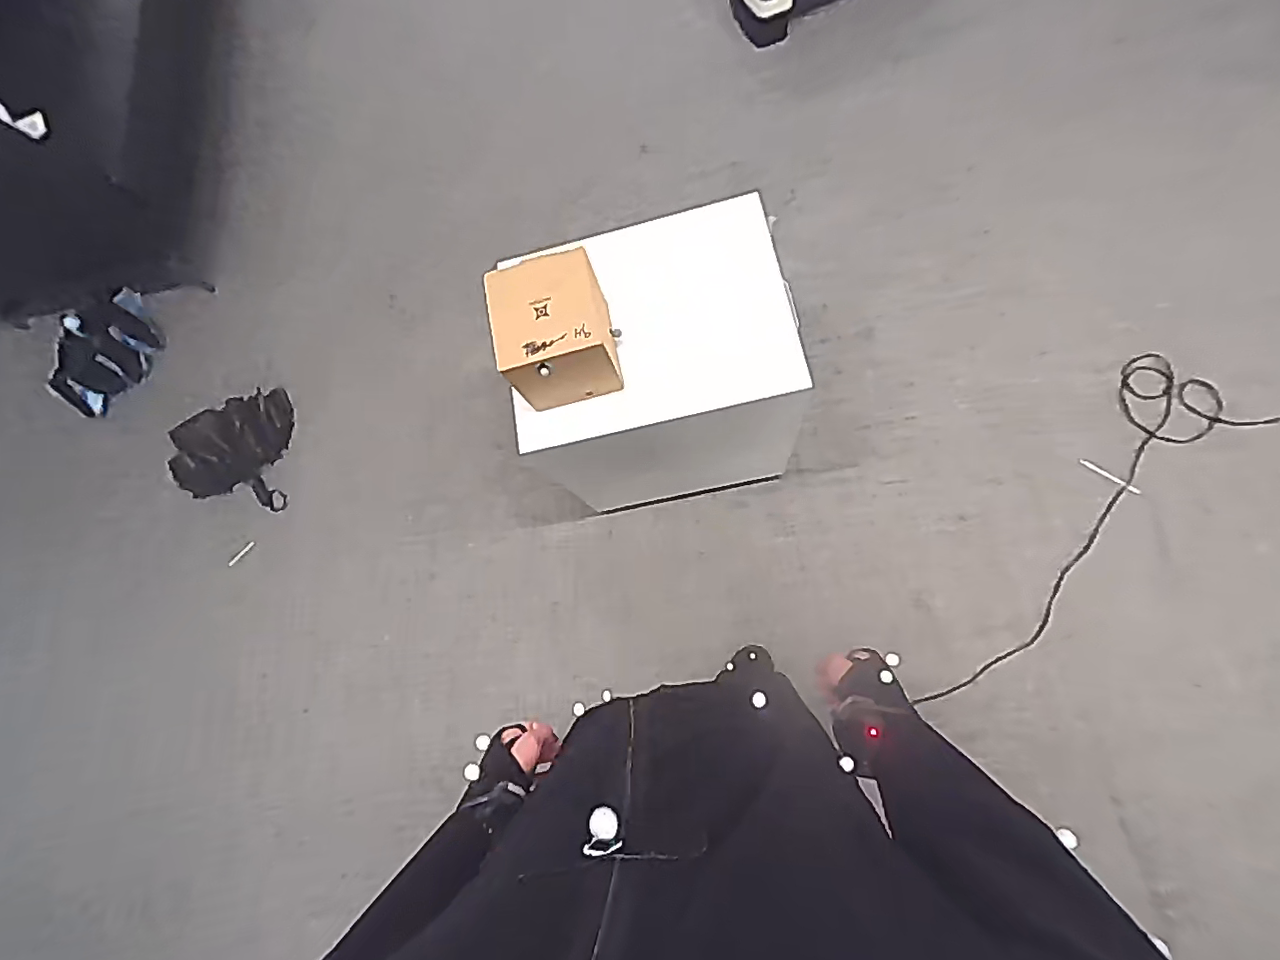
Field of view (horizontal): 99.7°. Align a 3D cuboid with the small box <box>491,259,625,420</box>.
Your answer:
[{"bbox_3d":[-0.130,-0.223,0.895,0.168,0.176,0.179,-14,72,7],"label":"small box"}]
